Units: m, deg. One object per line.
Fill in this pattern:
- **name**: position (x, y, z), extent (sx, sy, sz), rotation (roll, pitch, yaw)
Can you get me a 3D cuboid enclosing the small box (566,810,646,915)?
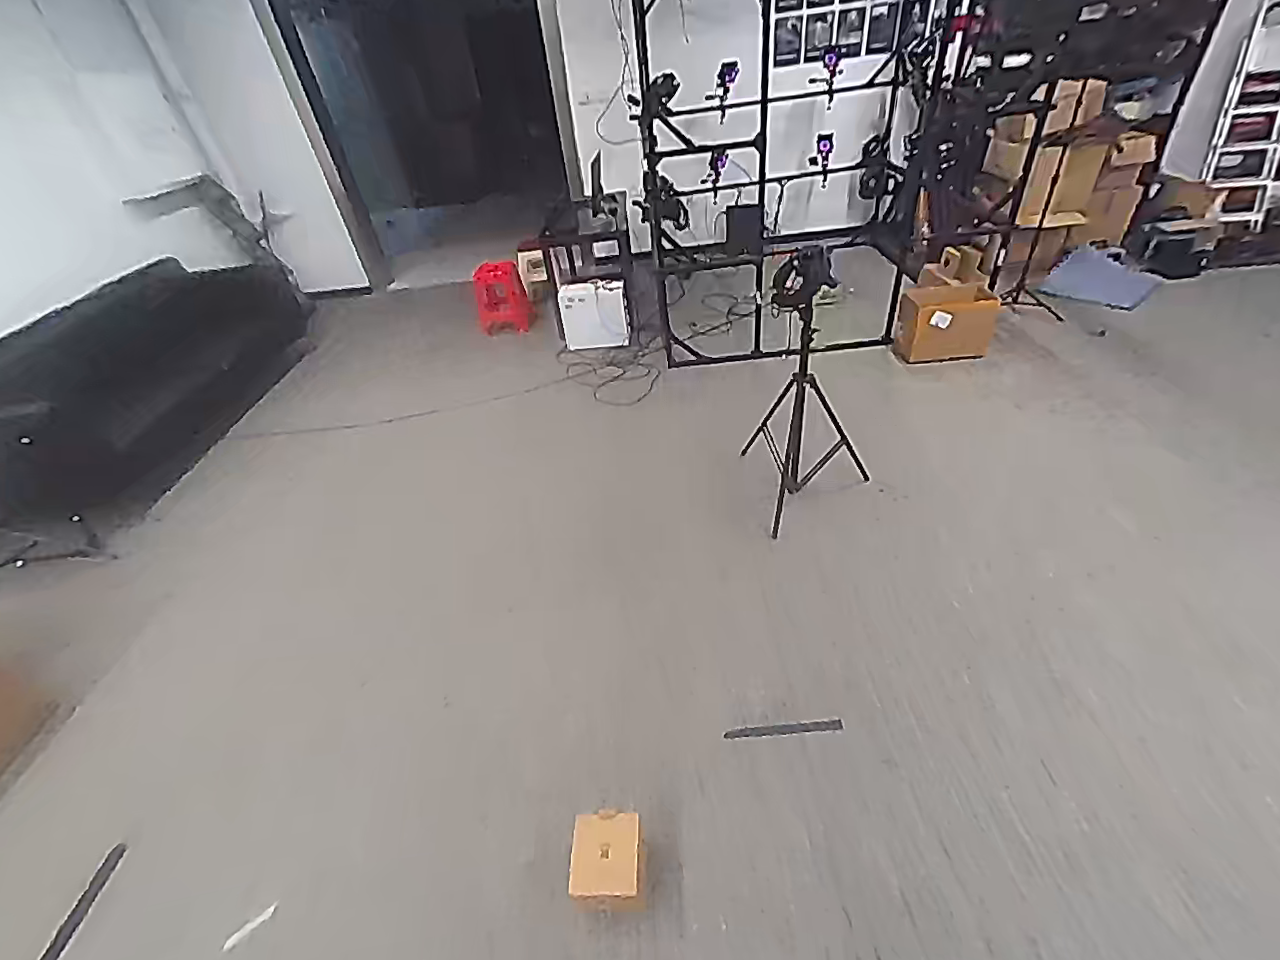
- **small box**: position (-0.079, 0.960, 1.358), extent (0.168, 0.176, 0.179), rotation (-5, 38, 6)
